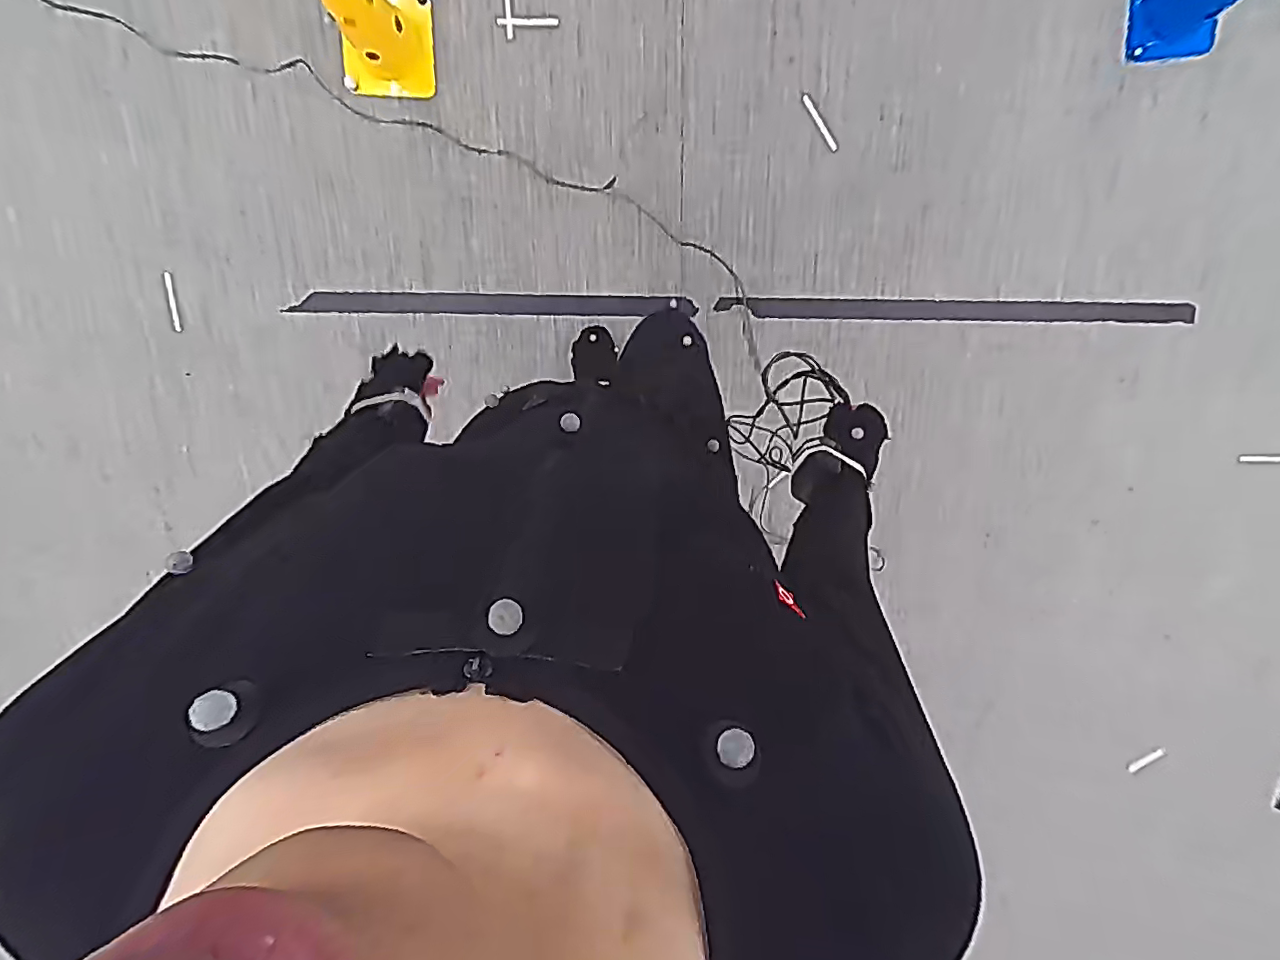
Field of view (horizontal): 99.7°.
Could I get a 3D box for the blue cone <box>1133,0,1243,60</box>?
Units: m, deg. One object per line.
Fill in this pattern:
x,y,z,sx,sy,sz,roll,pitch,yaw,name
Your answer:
1.206,-1.011,1.046,0.193,0.380,0.192,-5,105,0,blue cone
